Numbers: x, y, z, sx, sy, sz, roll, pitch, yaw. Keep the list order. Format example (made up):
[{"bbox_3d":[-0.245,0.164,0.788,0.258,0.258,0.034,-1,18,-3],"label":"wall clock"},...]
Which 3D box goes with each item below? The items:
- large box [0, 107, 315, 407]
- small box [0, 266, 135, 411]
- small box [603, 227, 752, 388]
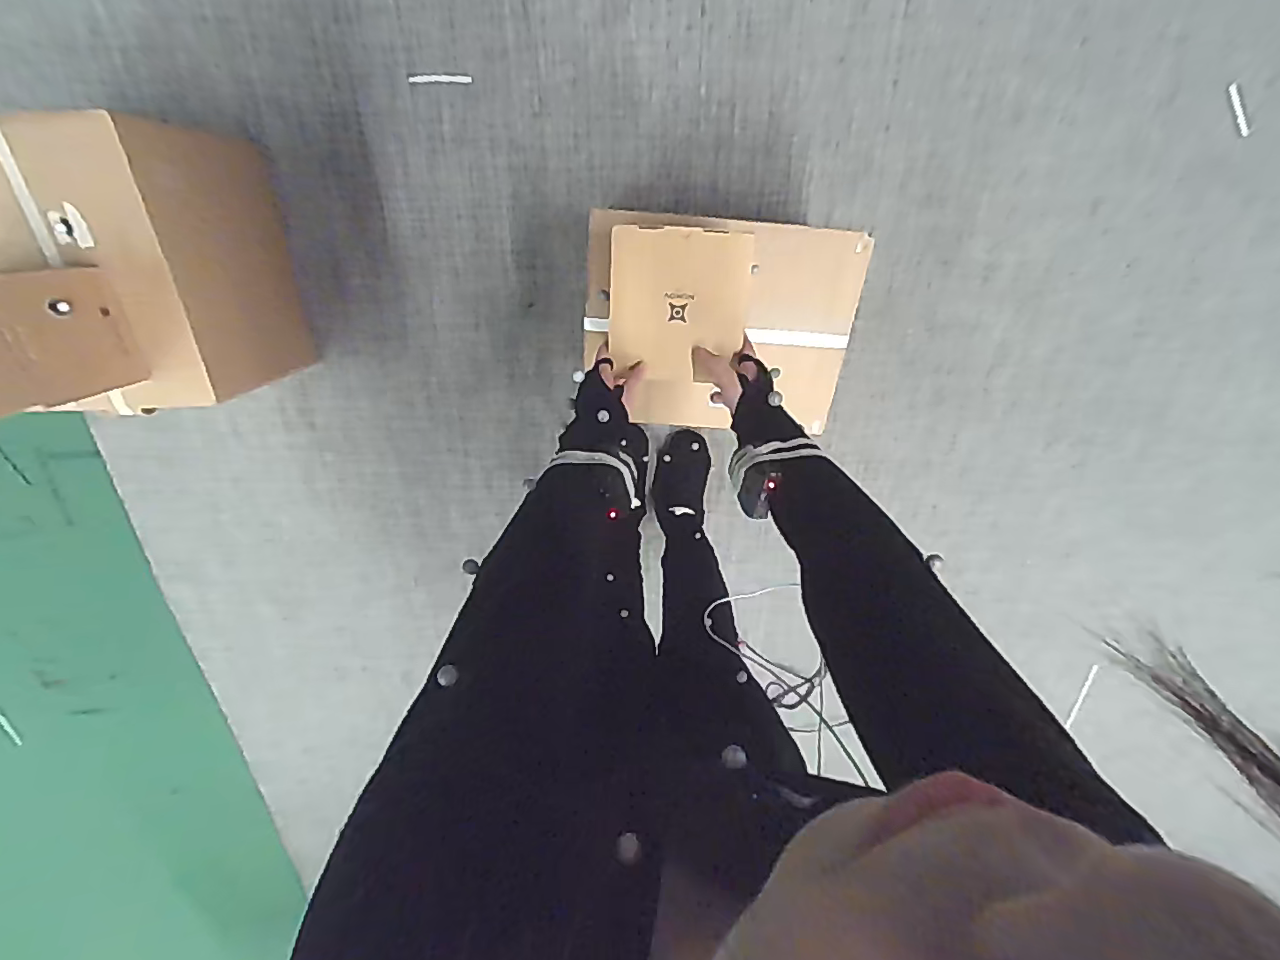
[{"bbox_3d":[-0.836,-0.361,0.925,0.320,0.320,0.408,-1,114,0],"label":"large box"},{"bbox_3d":[-0.850,-0.195,0.733,0.179,0.176,0.168,-2,114,2],"label":"small box"},{"bbox_3d":[0.044,-0.227,0.716,0.168,0.176,0.179,3,109,0],"label":"small box"}]
